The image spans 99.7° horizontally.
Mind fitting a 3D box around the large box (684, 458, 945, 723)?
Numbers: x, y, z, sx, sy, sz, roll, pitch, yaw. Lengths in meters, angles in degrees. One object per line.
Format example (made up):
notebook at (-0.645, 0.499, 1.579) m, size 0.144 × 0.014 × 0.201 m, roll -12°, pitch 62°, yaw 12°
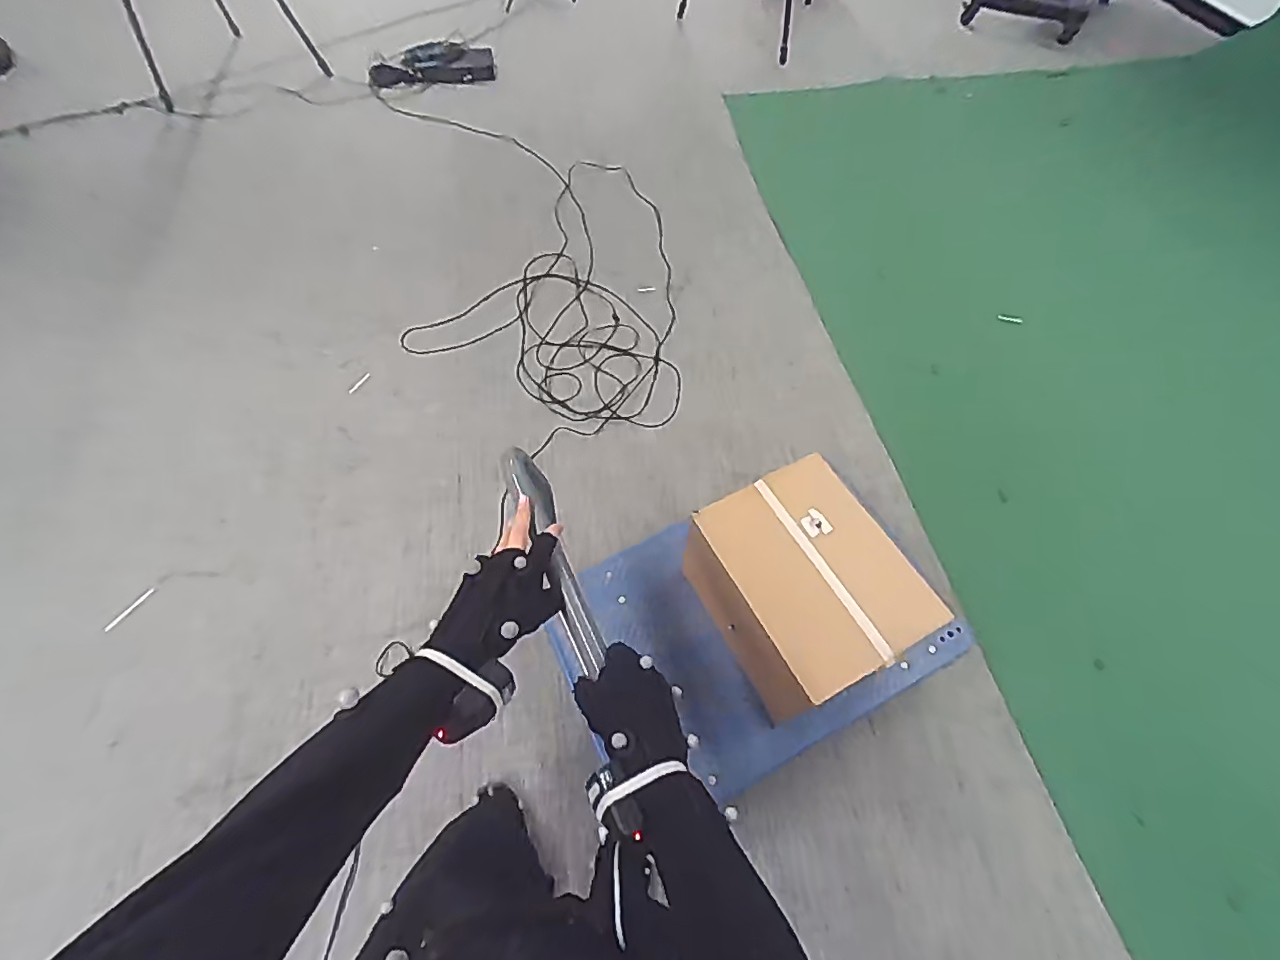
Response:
large box at (0.328, 0.238, 1.153) m, size 0.320 × 0.320 × 0.408 m, roll -24°, pitch 62°, yaw -14°
